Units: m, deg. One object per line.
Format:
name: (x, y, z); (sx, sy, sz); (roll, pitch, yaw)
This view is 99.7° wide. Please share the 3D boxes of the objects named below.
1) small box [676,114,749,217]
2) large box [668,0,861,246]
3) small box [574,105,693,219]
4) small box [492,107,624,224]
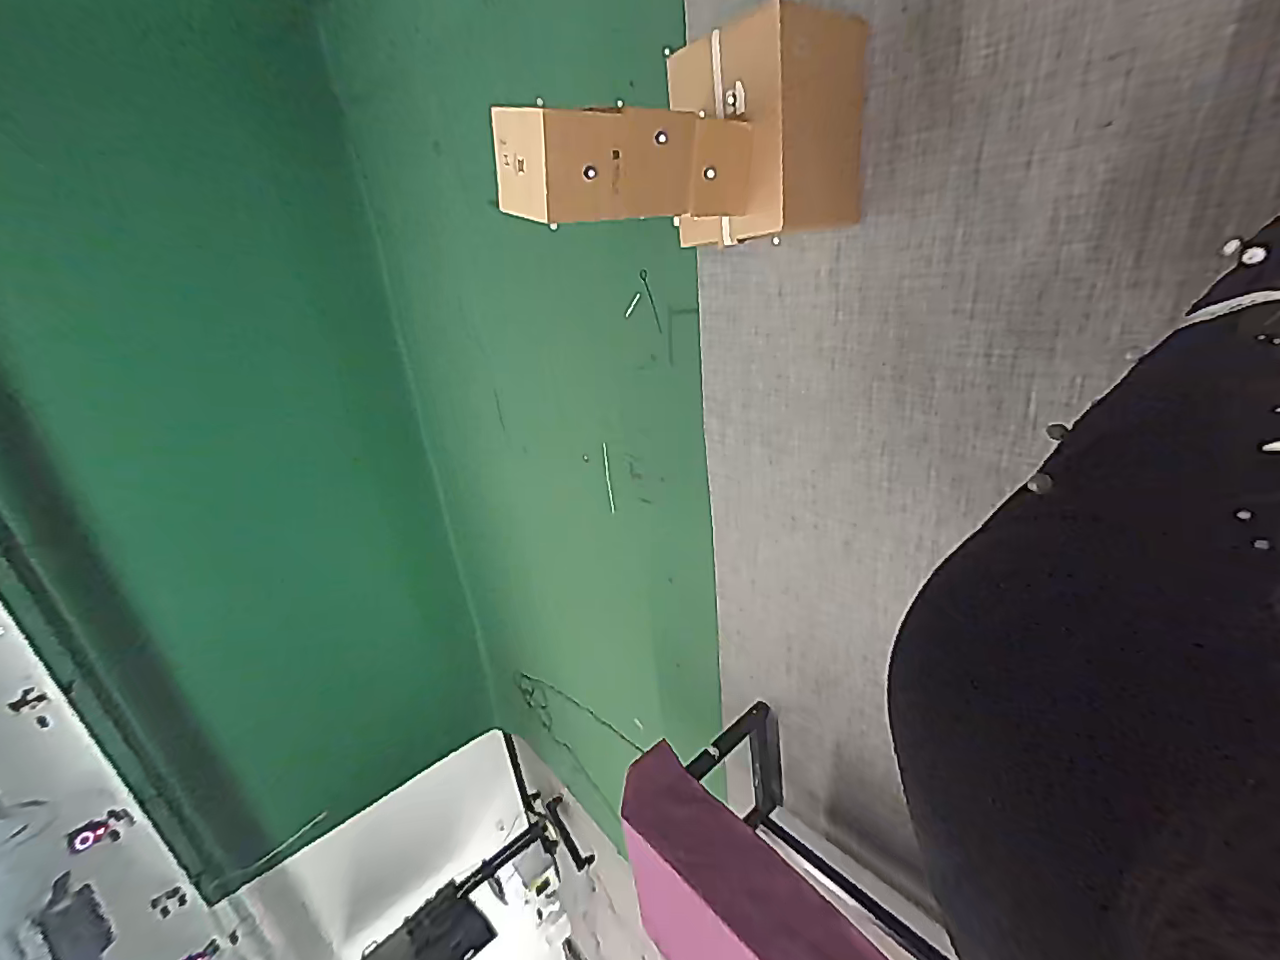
small box: (0.114, -0.665, 1.151); (0.168, 0.176, 0.179); (31, 132, 41)
large box: (0.295, -0.789, 1.267); (0.320, 0.320, 0.408); (18, 122, 47)
small box: (-0.014, -0.622, 1.059); (0.168, 0.176, 0.179); (35, 135, 39)
small box: (-0.144, -0.568, 0.974); (0.179, 0.176, 0.168); (35, 134, 38)
